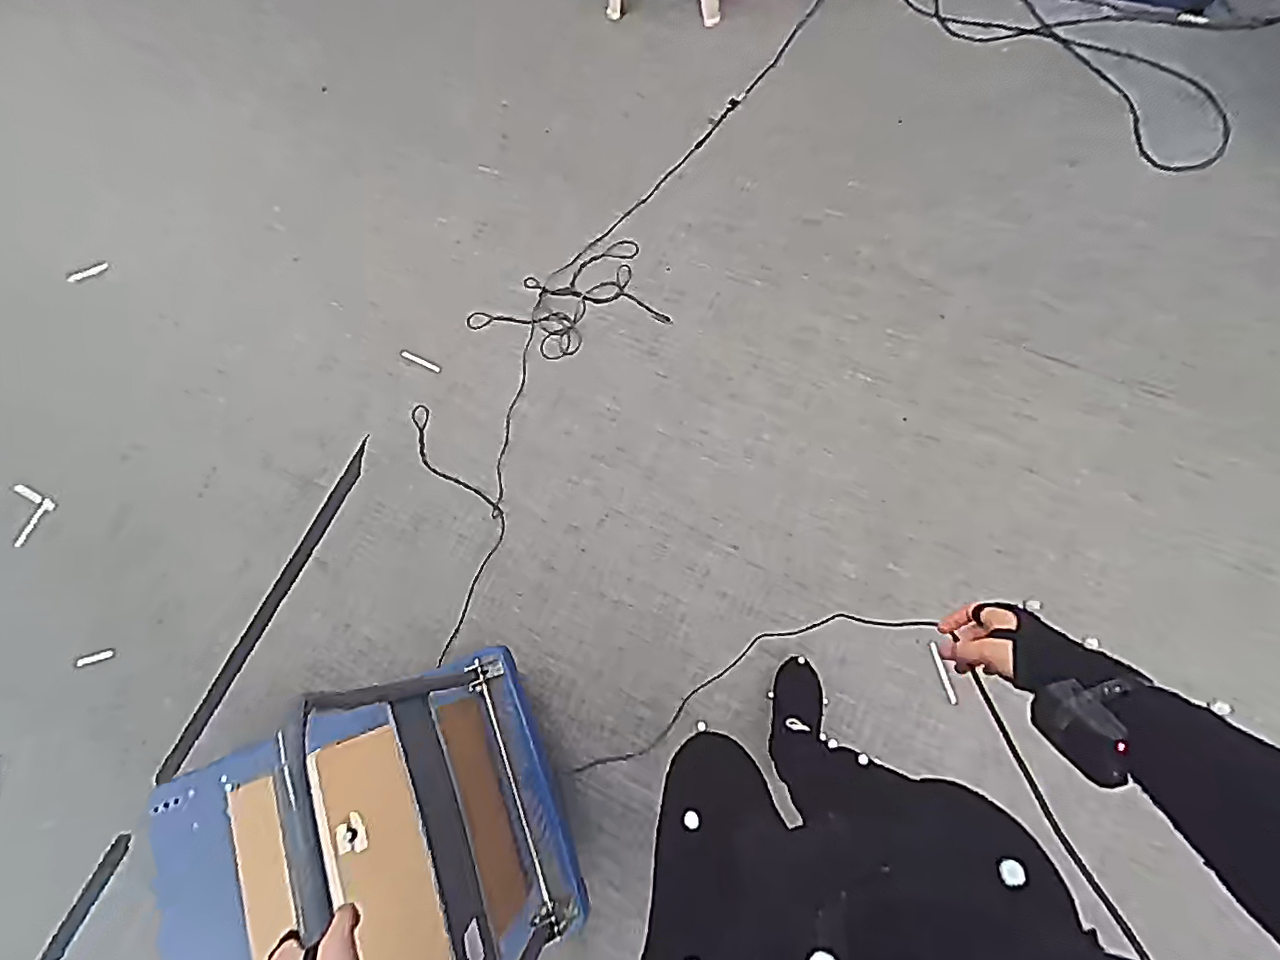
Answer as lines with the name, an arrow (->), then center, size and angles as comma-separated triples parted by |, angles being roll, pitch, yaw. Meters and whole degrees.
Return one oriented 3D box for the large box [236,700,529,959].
large box -> -0.445, 0.671, 0.988 | 0.320, 0.320, 0.408 | -22, 73, 0
